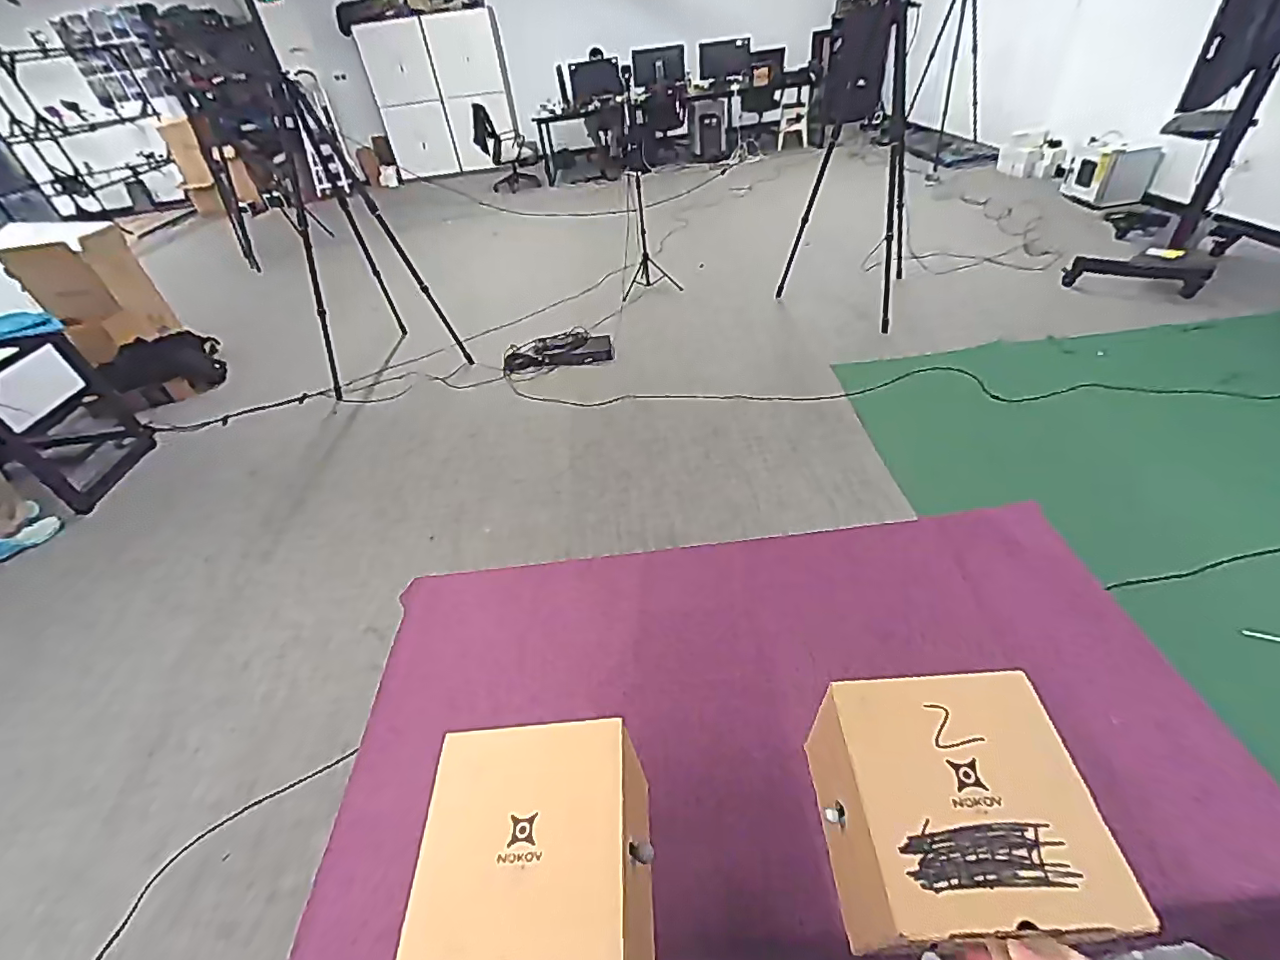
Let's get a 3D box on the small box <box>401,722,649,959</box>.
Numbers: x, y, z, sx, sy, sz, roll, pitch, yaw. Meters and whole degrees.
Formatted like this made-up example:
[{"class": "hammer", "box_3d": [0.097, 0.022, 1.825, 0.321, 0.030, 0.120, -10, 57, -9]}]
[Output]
[{"class": "small box", "box_3d": [-0.085, 0.348, 0.496, 0.168, 0.176, 0.179, -7, 44, 4]}]
